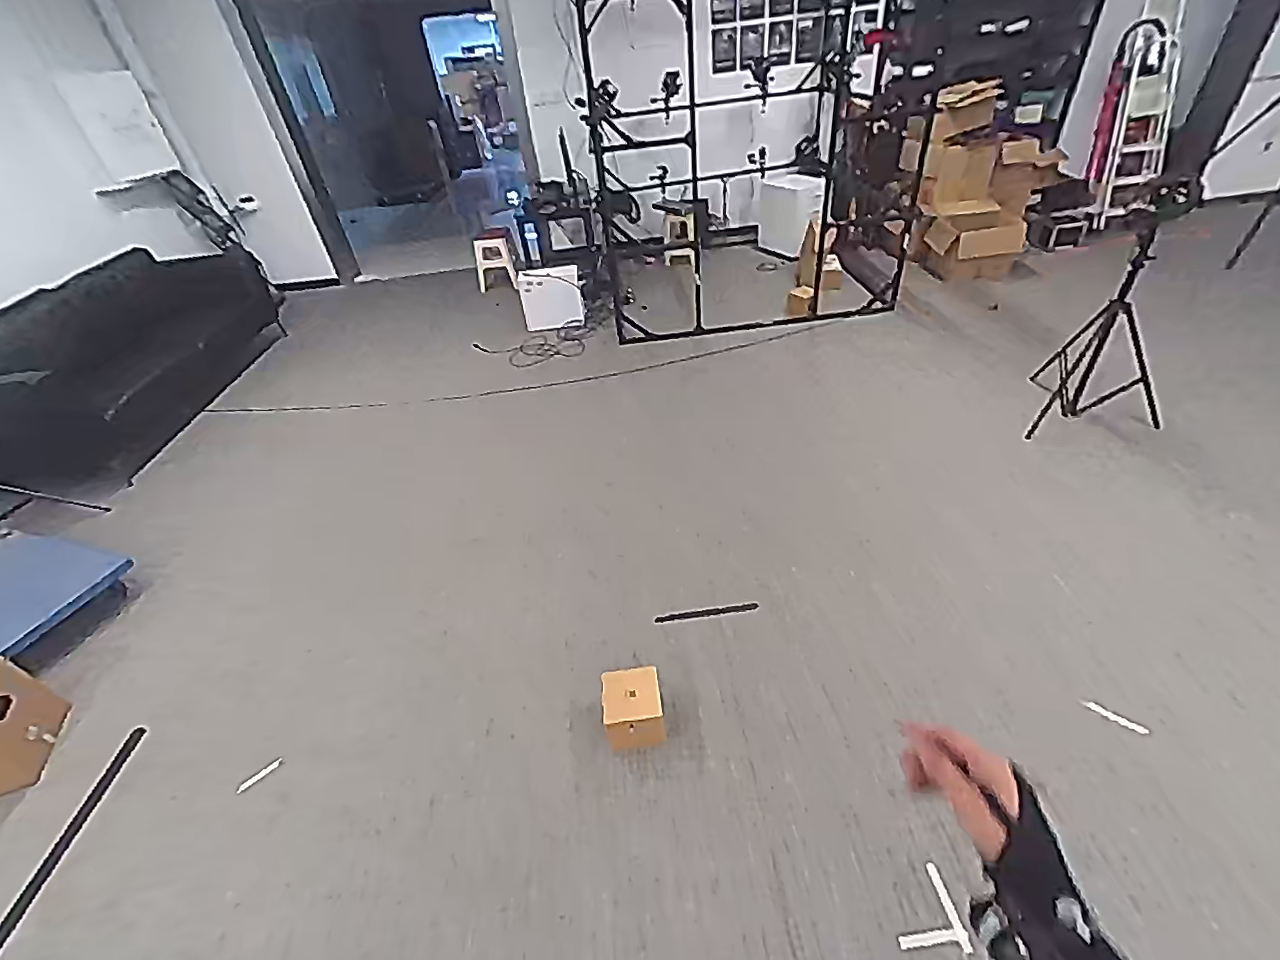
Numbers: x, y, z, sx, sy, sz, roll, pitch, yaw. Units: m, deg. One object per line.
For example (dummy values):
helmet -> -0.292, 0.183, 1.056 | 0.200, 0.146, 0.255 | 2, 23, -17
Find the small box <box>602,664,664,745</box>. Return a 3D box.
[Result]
small box -> -0.020, 0.699, 1.683 | 0.179, 0.176, 0.168 | -9, 39, 0
